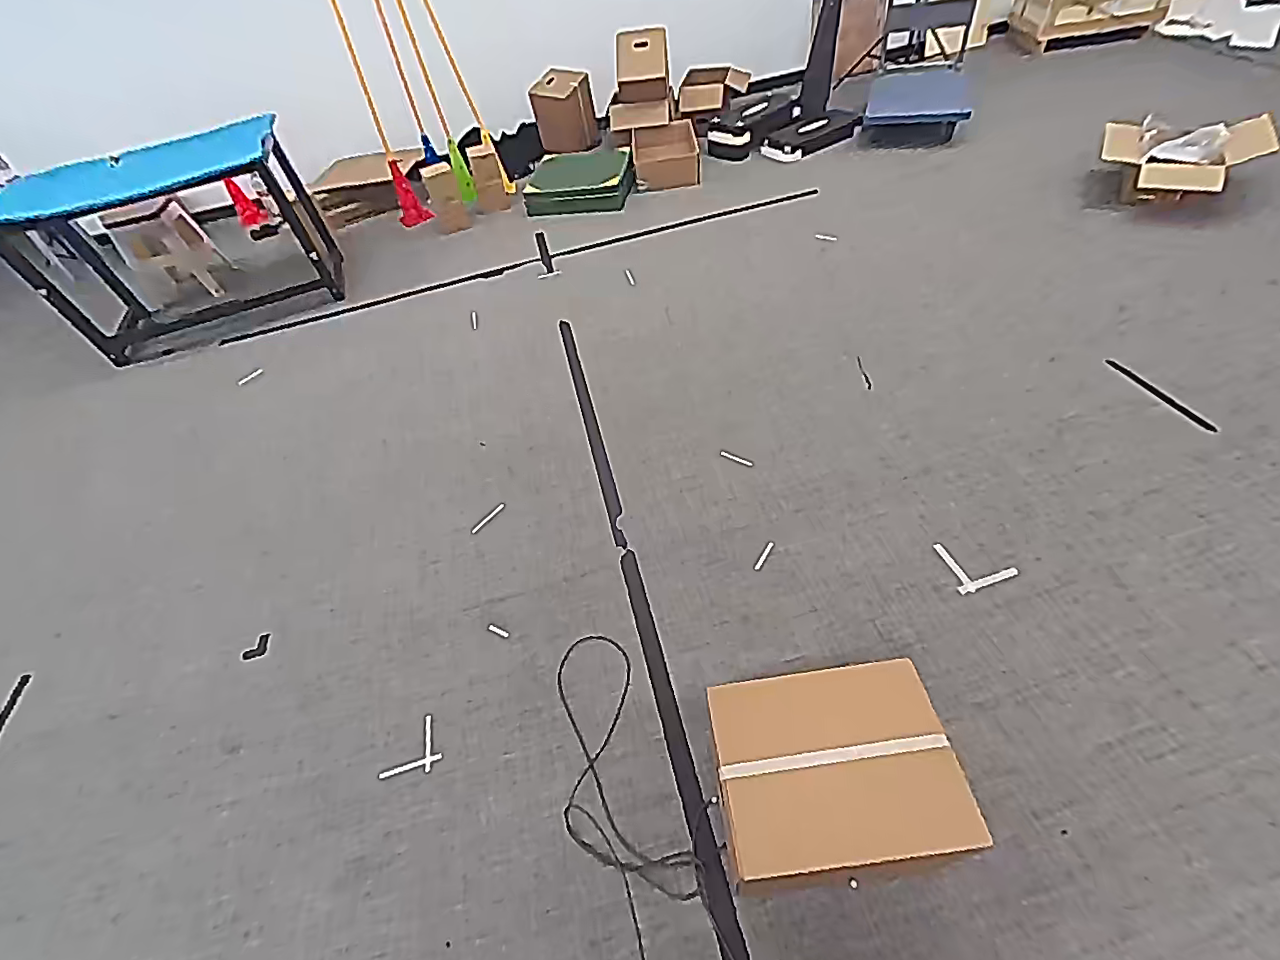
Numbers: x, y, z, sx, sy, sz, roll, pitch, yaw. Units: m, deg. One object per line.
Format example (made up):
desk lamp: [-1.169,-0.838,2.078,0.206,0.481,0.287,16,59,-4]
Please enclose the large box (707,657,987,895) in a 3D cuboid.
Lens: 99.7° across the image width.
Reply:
large box: [0.363,0.591,1.074,0.408,0.320,0.320,-9,49,1]
